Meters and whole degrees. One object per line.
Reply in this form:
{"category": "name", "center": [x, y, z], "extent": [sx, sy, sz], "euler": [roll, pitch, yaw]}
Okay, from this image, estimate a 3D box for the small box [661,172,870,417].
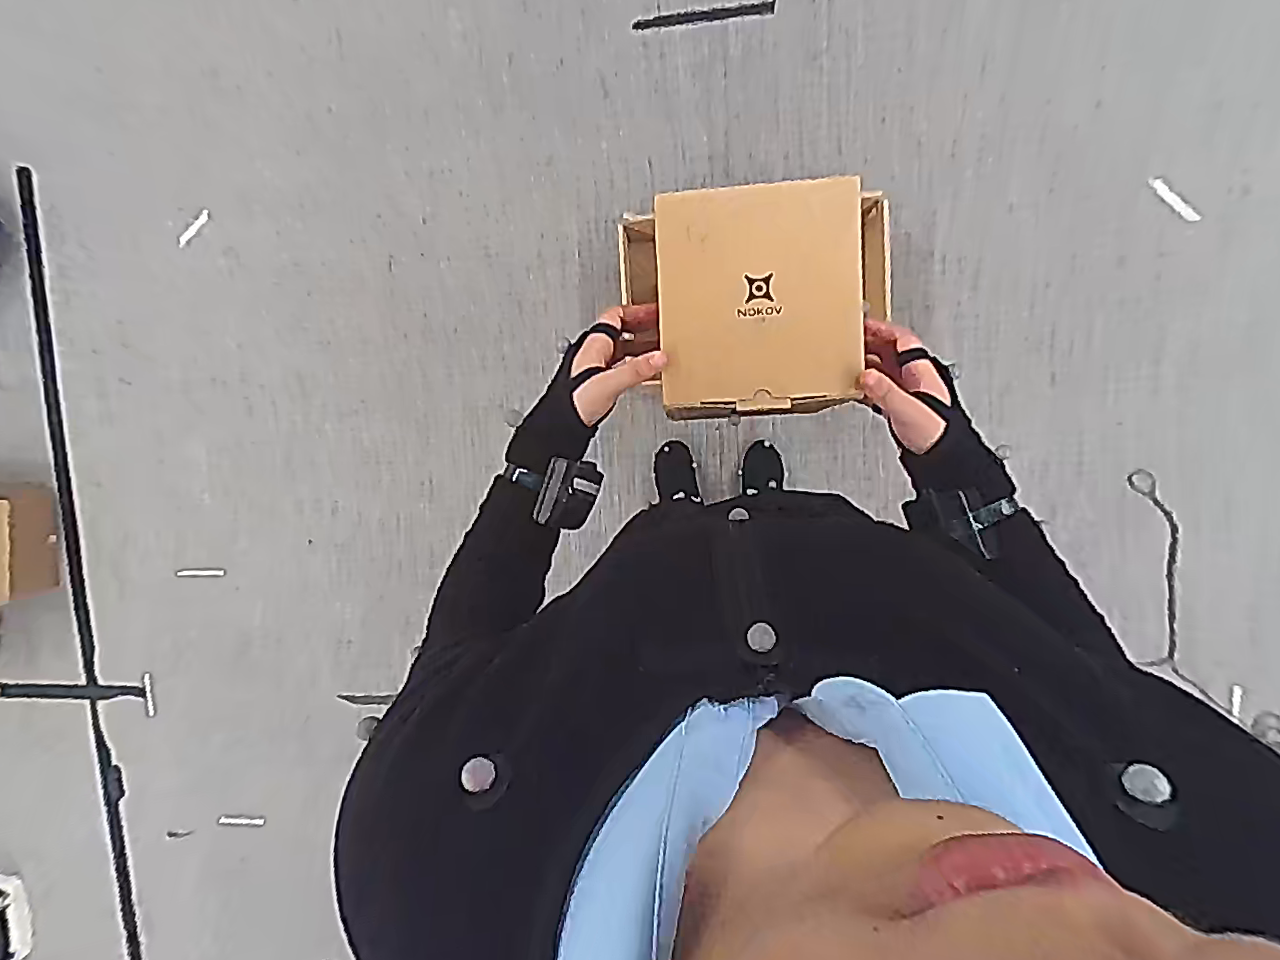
{"category": "small box", "center": [0.105, -0.157, 0.513], "extent": [0.168, 0.176, 0.179], "euler": [-3, 93, 5]}
